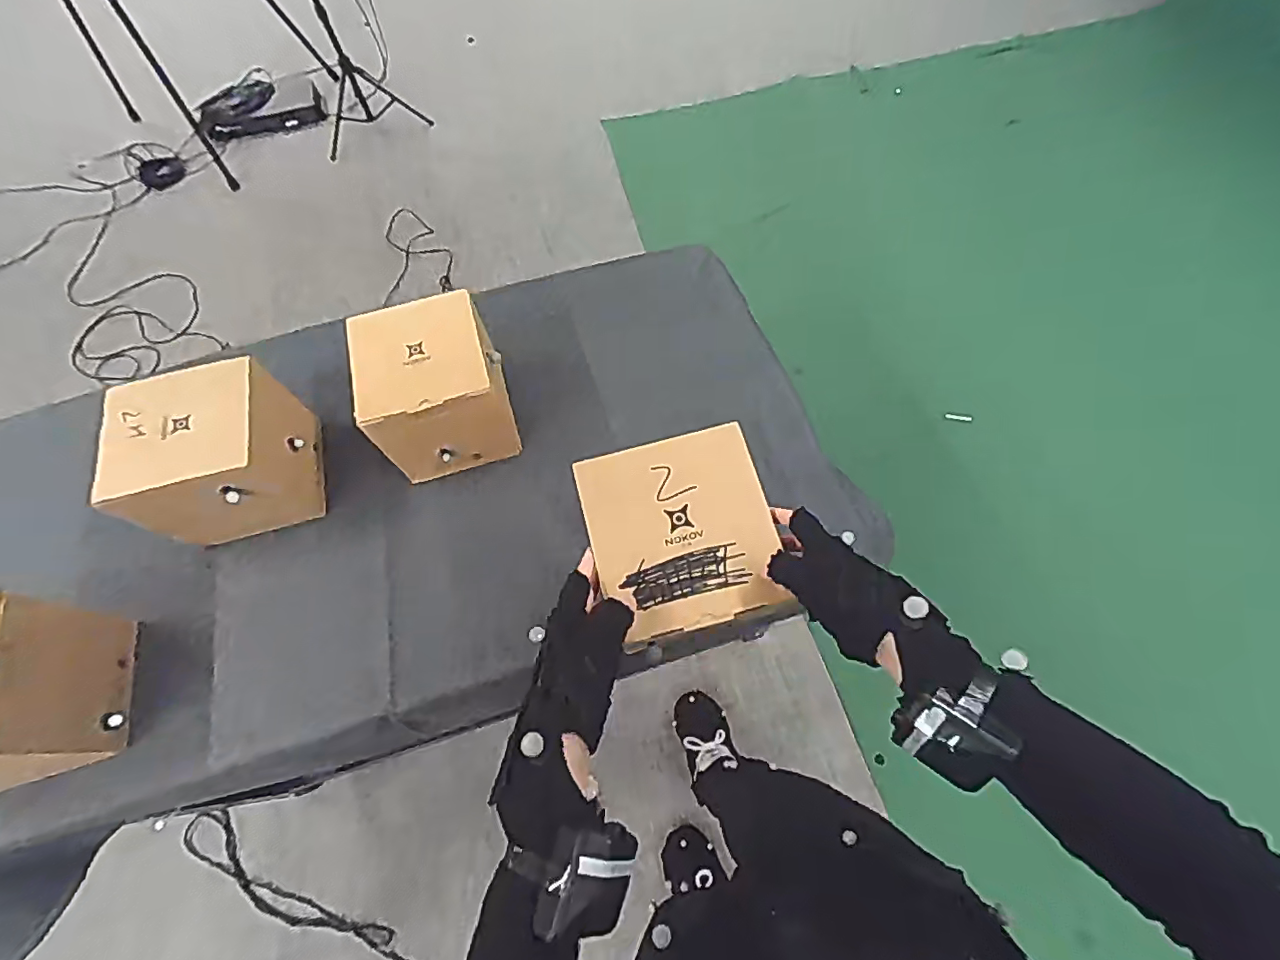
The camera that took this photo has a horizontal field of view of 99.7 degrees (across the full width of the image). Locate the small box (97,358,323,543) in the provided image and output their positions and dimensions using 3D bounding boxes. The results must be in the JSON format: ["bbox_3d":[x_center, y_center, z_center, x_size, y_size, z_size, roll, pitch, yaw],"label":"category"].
[{"bbox_3d":[-0.550,-0.032,0.722,0.179,0.176,0.168,-15,66,-5],"label":"small box"}]

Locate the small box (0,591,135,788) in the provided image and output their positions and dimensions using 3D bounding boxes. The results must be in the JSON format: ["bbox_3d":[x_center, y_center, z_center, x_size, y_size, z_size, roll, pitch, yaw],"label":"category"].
[{"bbox_3d":[-0.720,0.241,0.598,0.179,0.176,0.168,-17,65,-6],"label":"small box"}]

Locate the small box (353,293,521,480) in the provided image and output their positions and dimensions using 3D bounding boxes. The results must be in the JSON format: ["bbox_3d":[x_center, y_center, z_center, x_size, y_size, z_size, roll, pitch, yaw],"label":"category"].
[{"bbox_3d":[-0.279,-0.125,0.763,0.168,0.176,0.179,-16,66,-6],"label":"small box"}]
